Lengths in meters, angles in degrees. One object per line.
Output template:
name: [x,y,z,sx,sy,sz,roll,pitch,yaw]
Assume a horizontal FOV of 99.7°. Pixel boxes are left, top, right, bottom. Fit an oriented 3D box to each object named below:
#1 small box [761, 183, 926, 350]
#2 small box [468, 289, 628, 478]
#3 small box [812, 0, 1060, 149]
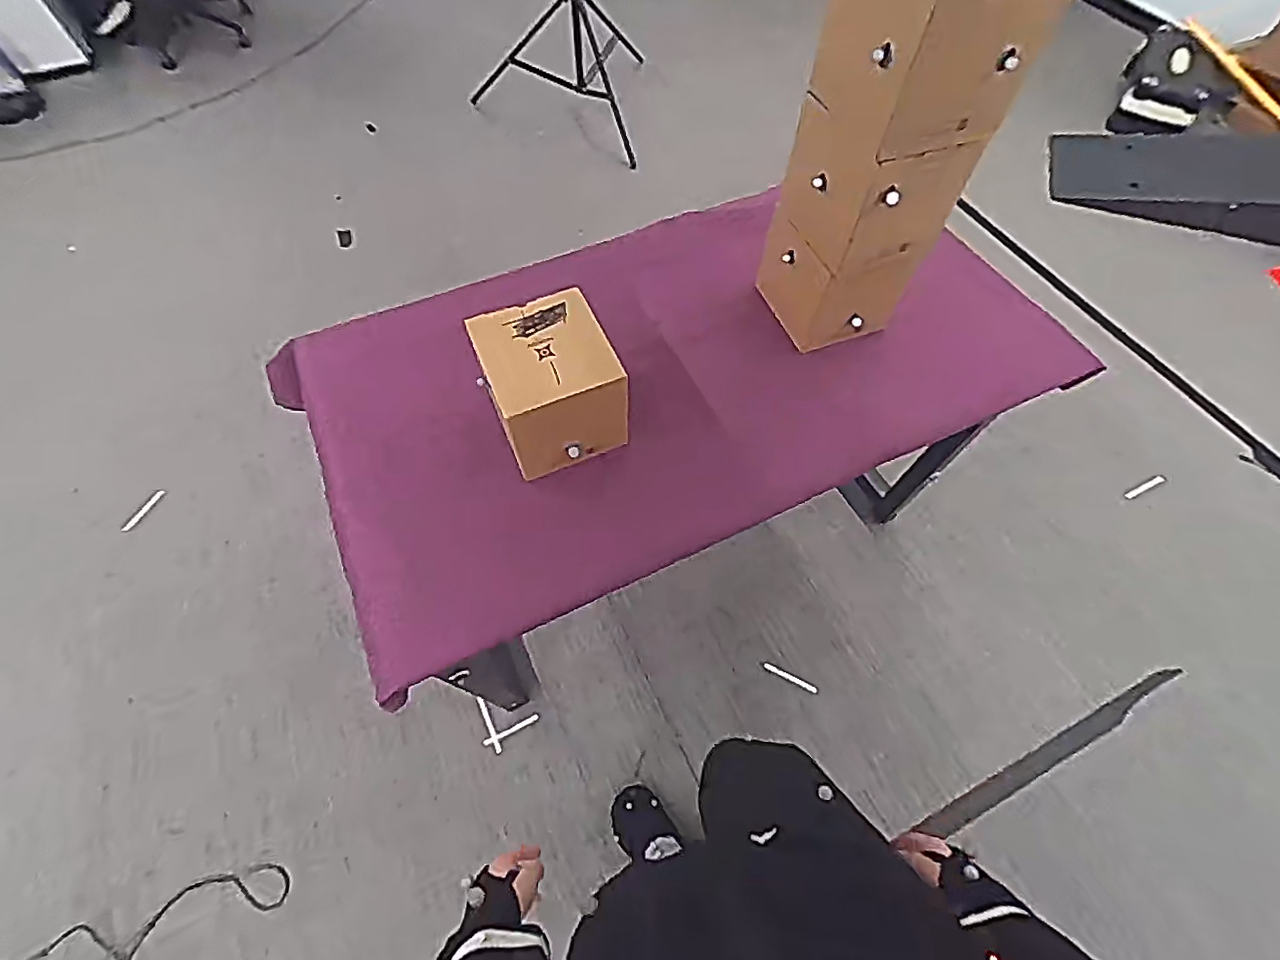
small box: [0.318,-0.348,0.892,0.168,0.176,0.179,-18,64,-9]
small box: [-0.126,-0.133,0.773,0.168,0.176,0.179,-22,65,-12]
small box: [0.320,-0.495,0.600,0.168,0.176,0.179,-16,62,-10]
